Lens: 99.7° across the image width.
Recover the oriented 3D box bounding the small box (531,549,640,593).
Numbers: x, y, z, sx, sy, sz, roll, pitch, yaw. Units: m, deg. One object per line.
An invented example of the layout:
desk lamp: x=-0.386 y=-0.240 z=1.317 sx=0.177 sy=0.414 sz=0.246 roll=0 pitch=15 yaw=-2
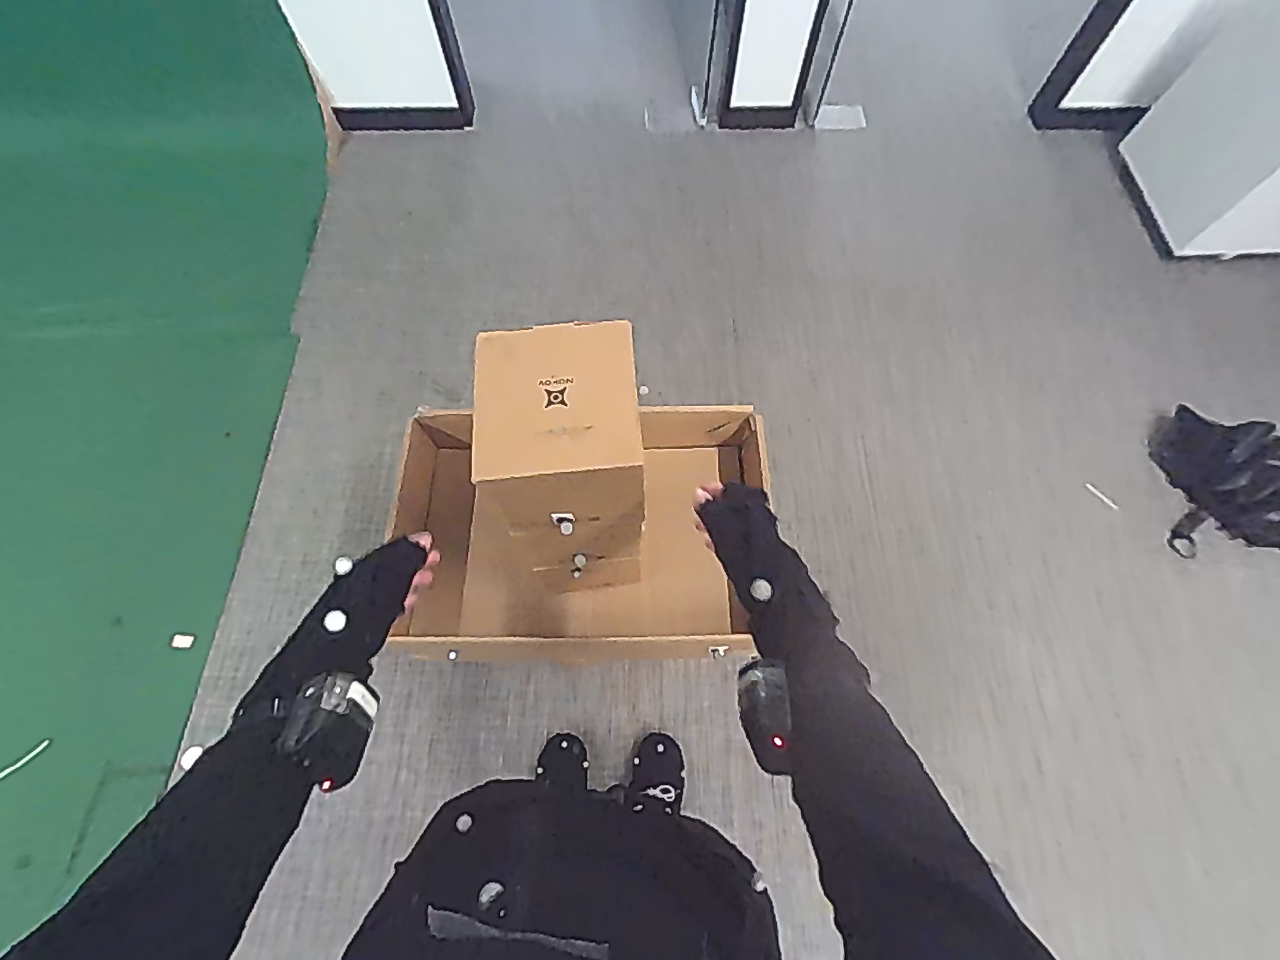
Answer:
small box: x=-0.091 y=0.080 z=0.919 sx=0.168 sy=0.176 sz=0.179 roll=-7 pitch=66 yaw=-2

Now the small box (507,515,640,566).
small box: x=-0.091 y=0.012 z=0.770 sx=0.168 sy=0.176 sz=0.179 roll=-6 pitch=67 yaw=-2

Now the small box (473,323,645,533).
small box: x=-0.084 y=-0.052 z=0.621 sx=0.168 sy=0.176 sz=0.179 roll=-6 pitch=68 yaw=-1
